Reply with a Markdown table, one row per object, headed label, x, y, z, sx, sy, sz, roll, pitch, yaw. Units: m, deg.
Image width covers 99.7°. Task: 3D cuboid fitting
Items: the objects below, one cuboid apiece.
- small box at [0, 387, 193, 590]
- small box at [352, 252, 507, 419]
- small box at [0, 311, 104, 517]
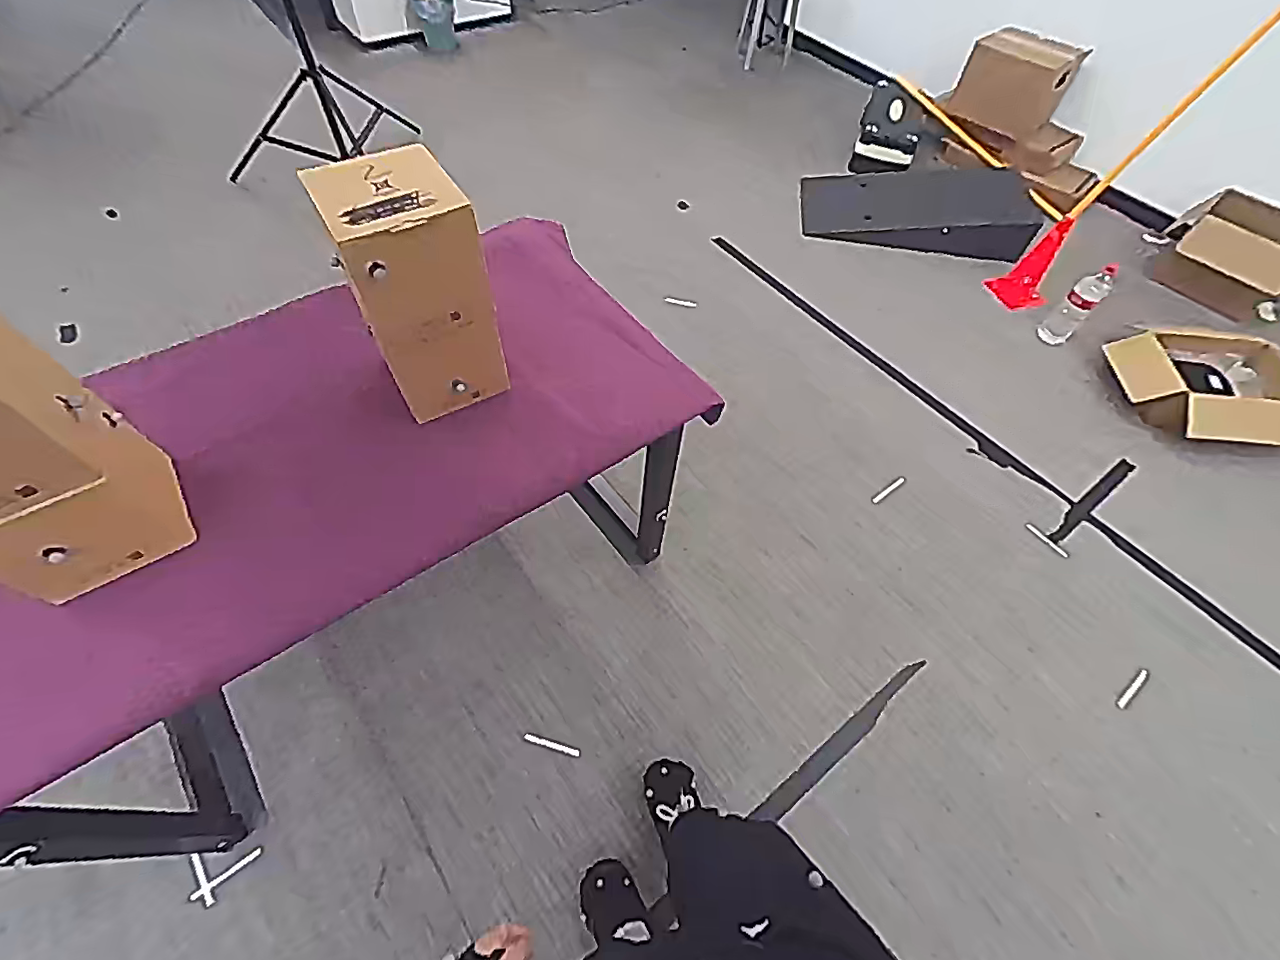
| label | x | y | z | sx | sy | sz | roll | pitch | yaw |
| --- | --- | --- | --- | --- | --- | --- | --- | --- | --- |
| small box | -0.727 | 0.020 | 0.696 | 0.168 | 0.176 | 0.179 | -30 | 64 | -21 |
| small box | -0.335 | -0.233 | 0.883 | 0.168 | 0.176 | 0.179 | -26 | 63 | -18 |
| small box | -0.722 | -0.073 | 0.560 | 0.168 | 0.176 | 0.179 | -31 | 63 | -21 |
